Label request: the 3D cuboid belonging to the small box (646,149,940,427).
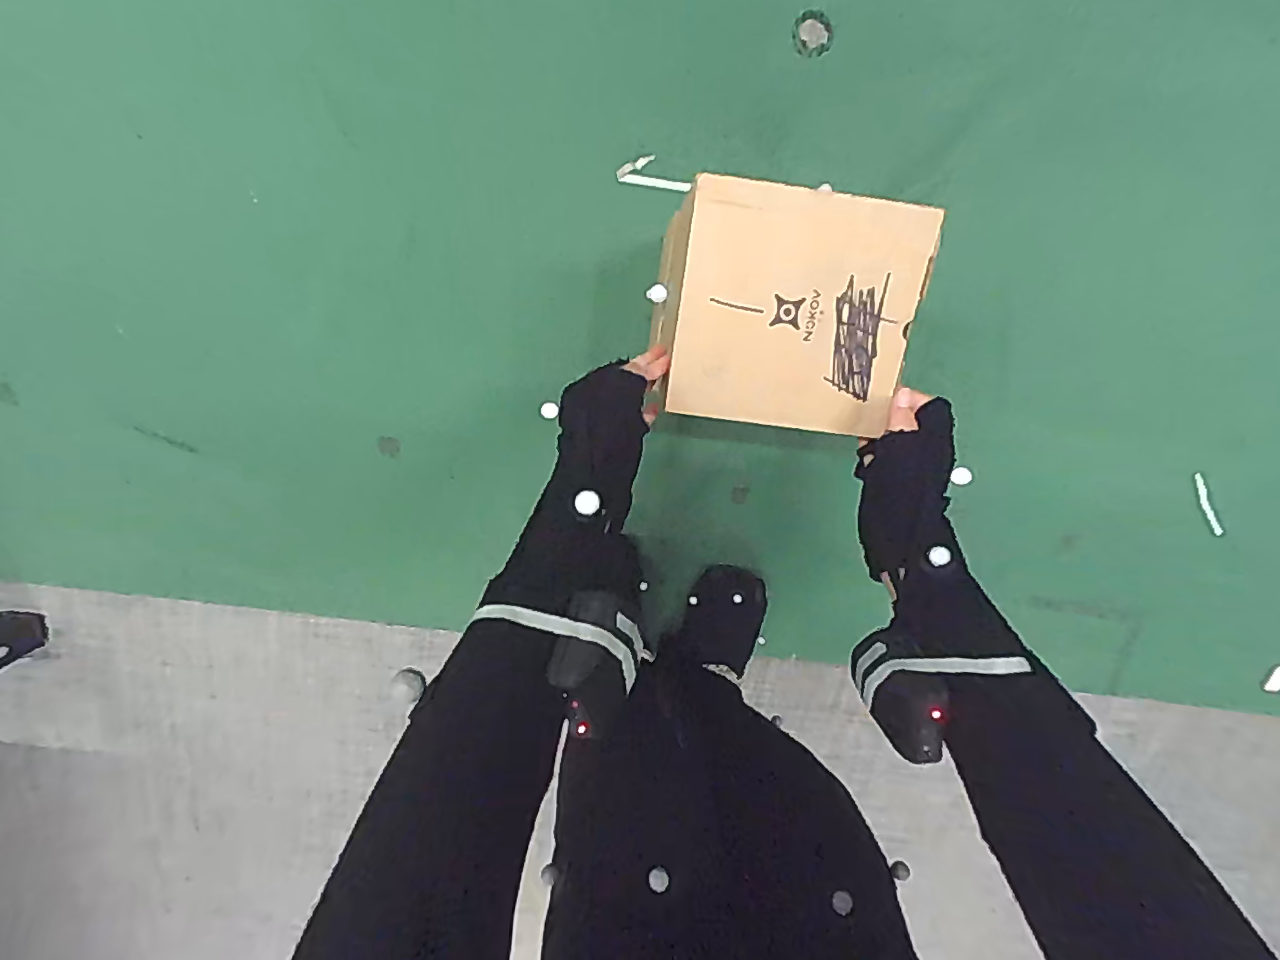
[{"bbox_3d":[0.106,-0.152,0.462,0.179,0.176,0.168,9,105,-4],"label":"small box"}]
